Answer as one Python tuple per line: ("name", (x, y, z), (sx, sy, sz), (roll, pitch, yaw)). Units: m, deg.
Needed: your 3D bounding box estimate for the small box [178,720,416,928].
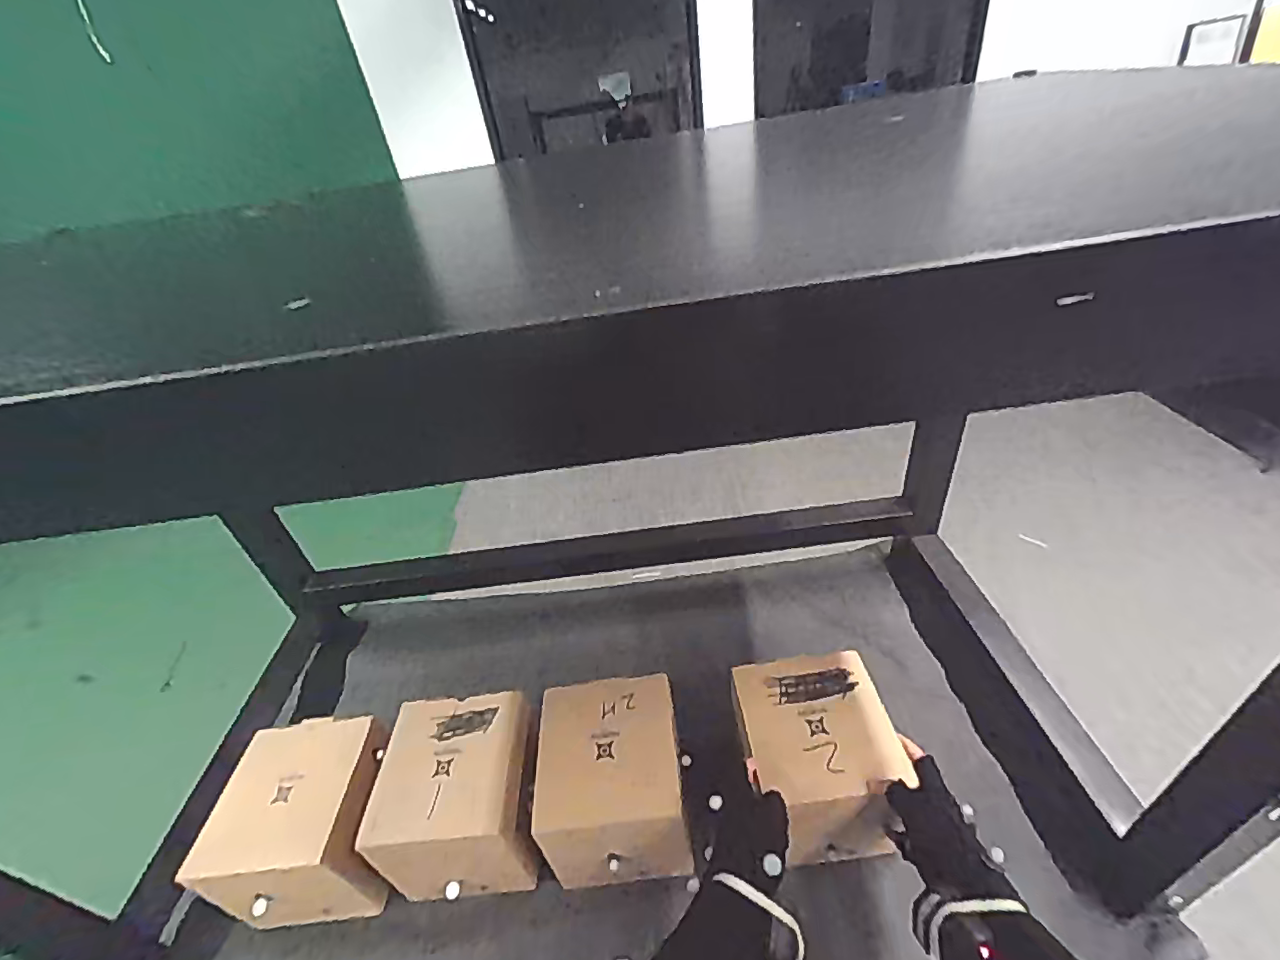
("small box", (-0.414, 0.443, 0.695), (0.168, 0.176, 0.179), (-8, 34, 2))
